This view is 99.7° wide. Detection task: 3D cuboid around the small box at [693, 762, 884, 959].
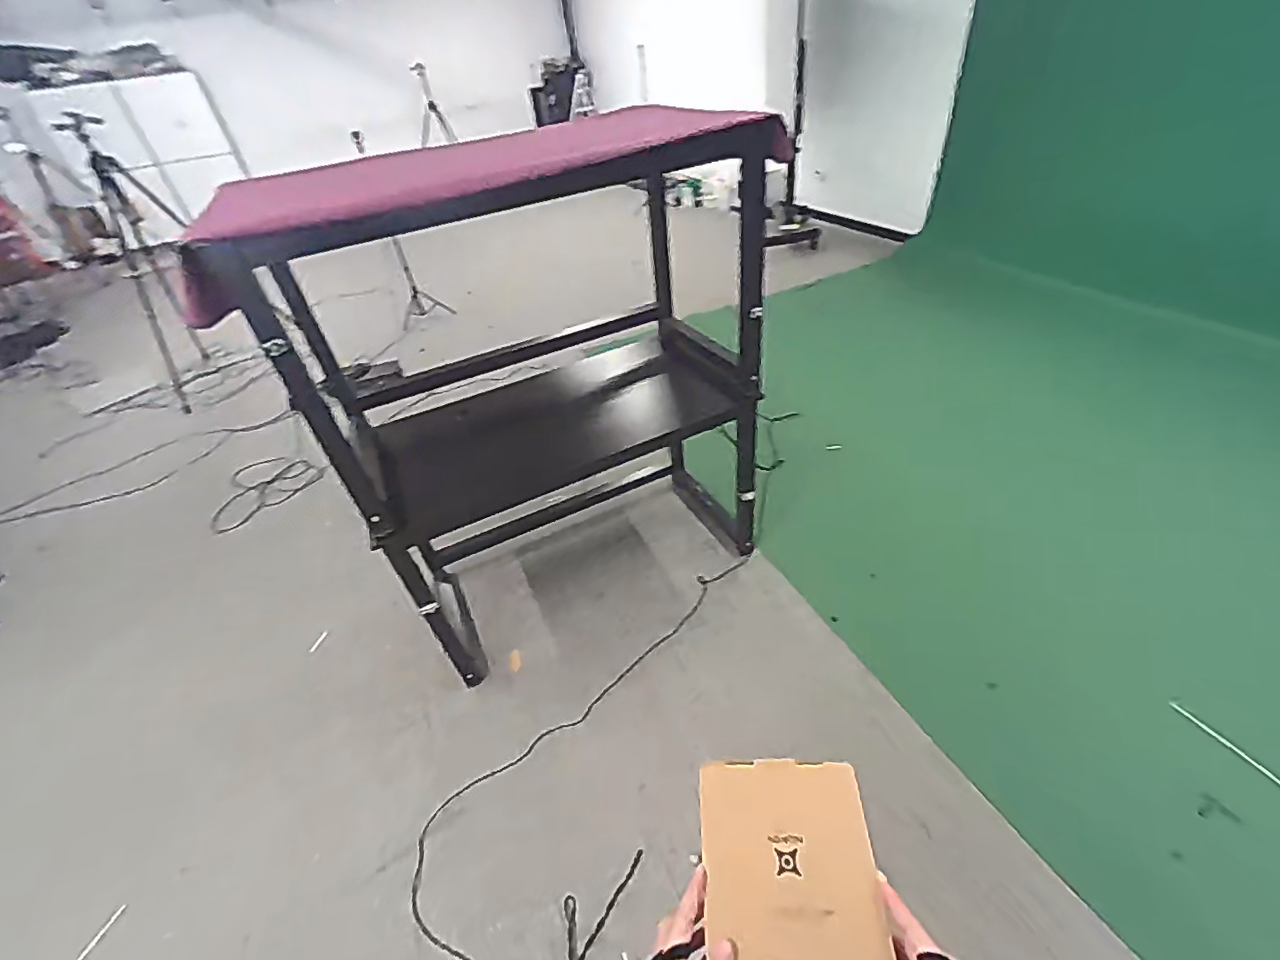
[{"bbox_3d":[0.142,0.425,0.582,0.168,0.176,0.179,-3,44,6],"label":"small box"}]
